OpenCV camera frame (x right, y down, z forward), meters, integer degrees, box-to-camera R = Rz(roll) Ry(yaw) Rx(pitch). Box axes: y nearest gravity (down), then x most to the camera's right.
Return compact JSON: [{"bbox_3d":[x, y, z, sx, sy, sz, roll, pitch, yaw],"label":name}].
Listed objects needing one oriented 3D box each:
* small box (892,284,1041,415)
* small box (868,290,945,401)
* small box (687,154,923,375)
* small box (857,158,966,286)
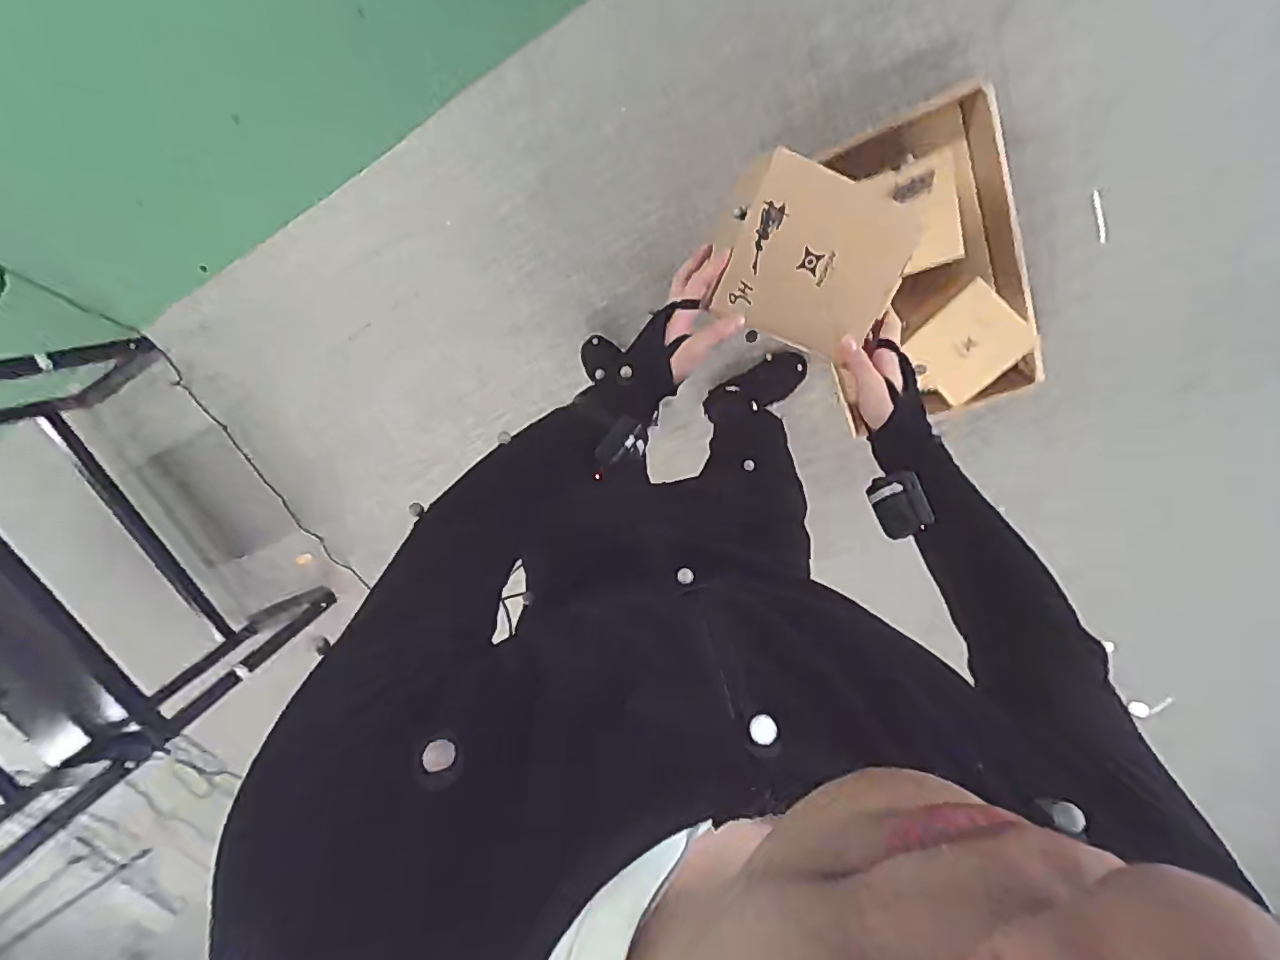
[{"bbox_3d":[0.621,-0.261,1.061,0.168,0.176,0.179,42,116,-5],"label":"small box"},{"bbox_3d":[0.635,-0.307,1.220,0.179,0.176,0.168,-34,100,24],"label":"small box"},{"bbox_3d":[0.171,-0.241,0.624,0.179,0.176,0.168,19,108,-10],"label":"small box"},{"bbox_3d":[0.482,-0.468,1.008,0.168,0.176,0.179,-13,111,19],"label":"small box"}]
